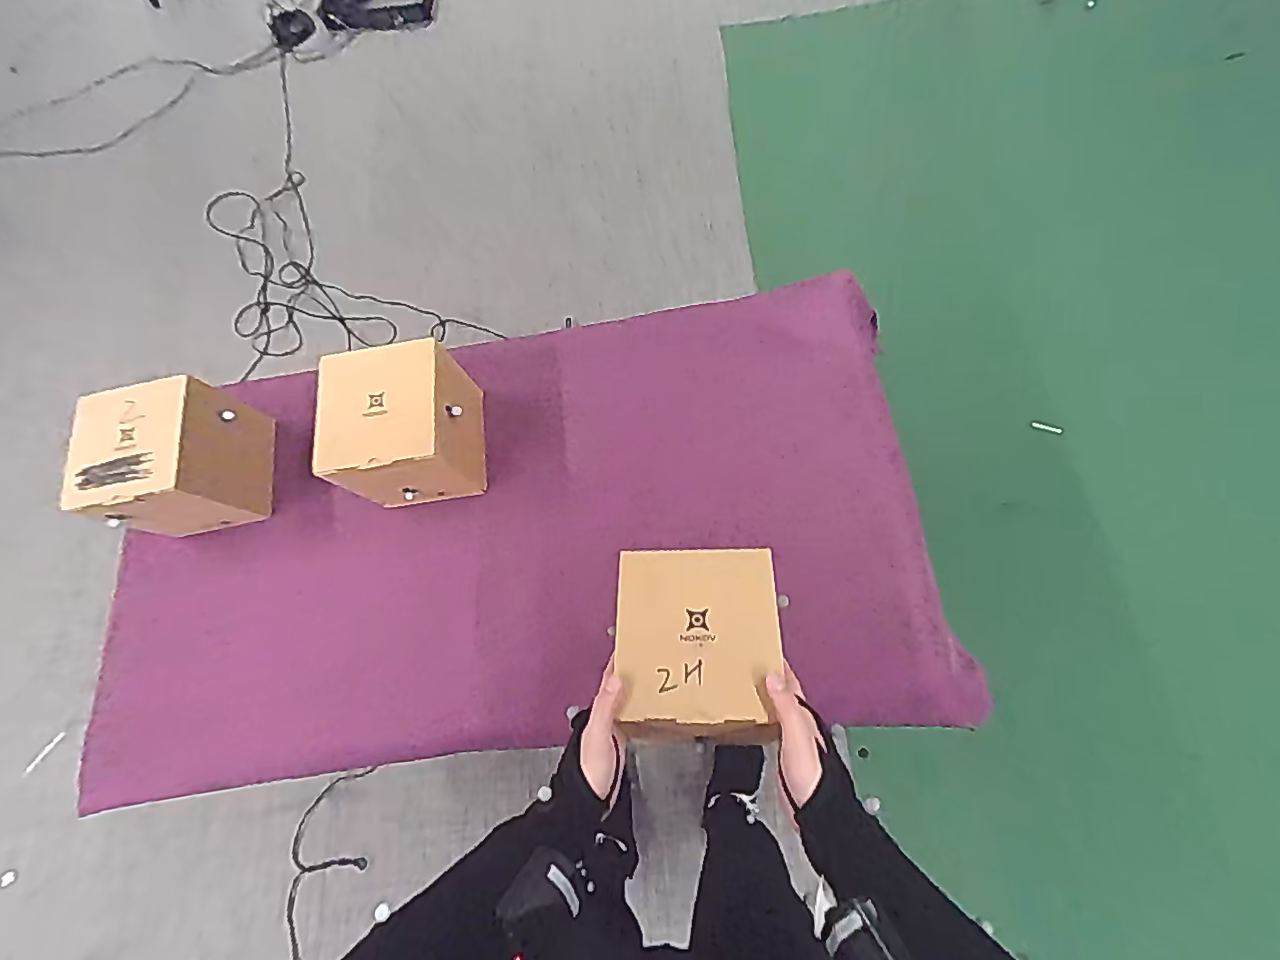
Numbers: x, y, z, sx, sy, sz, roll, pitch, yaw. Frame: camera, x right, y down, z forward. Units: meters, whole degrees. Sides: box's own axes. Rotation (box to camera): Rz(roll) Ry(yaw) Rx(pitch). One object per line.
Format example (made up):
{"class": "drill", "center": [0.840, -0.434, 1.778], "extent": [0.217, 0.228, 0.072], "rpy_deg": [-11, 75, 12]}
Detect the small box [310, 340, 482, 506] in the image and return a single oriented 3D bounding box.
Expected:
{"class": "small box", "center": [-0.339, -0.074, 0.782], "extent": [0.168, 0.176, 0.179], "rpy_deg": [-9, 73, 4]}

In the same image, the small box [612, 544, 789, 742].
{"class": "small box", "center": [0.066, 0.186, 0.606], "extent": [0.168, 0.176, 0.179], "rpy_deg": [-2, 58, 7]}
